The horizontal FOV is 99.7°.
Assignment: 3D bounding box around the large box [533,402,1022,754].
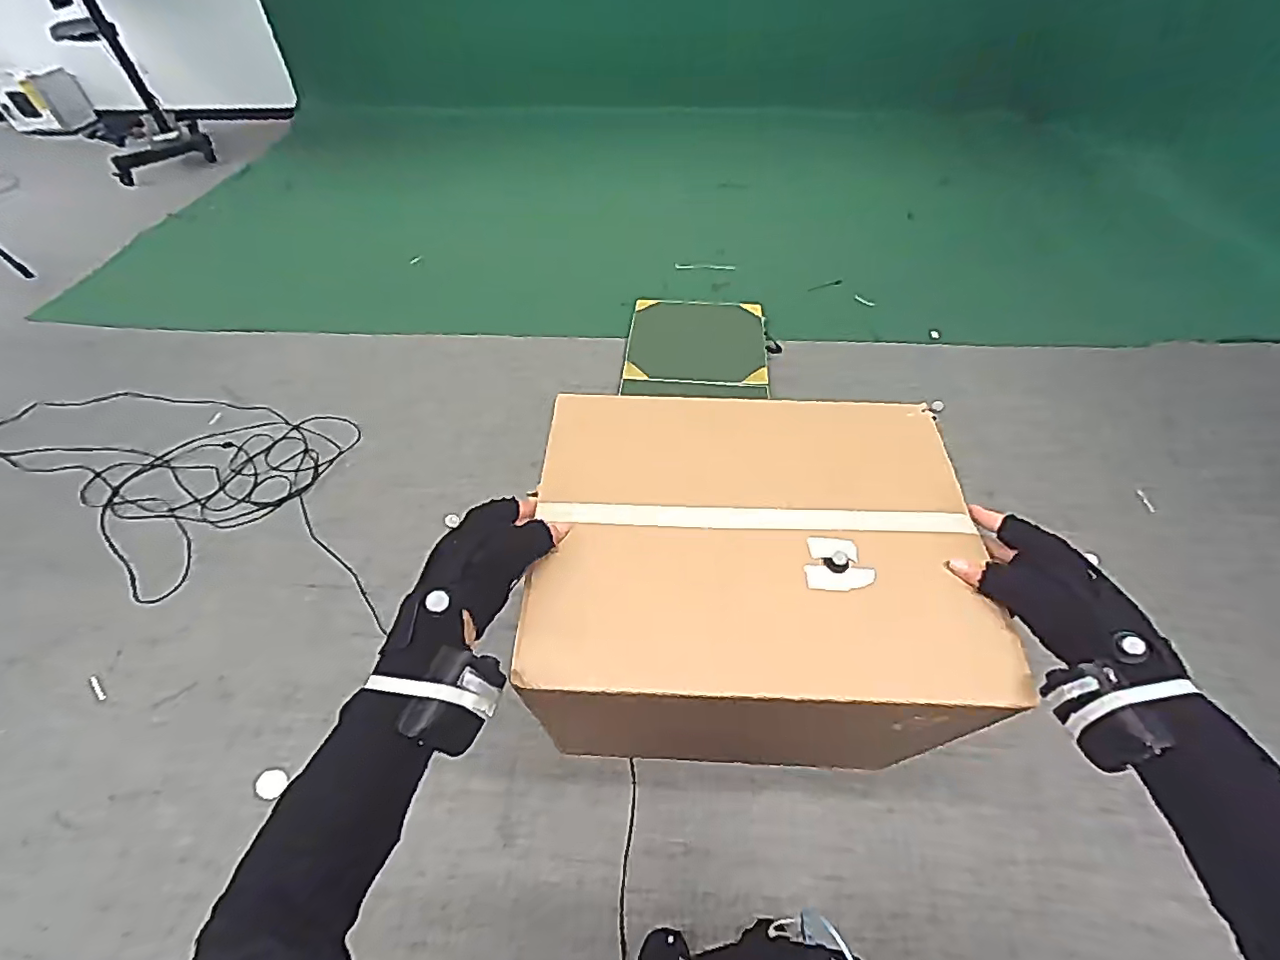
[{"bbox_3d":[0.109,0.127,0.637,0.408,0.320,0.320,2,55,0],"label":"large box"}]
